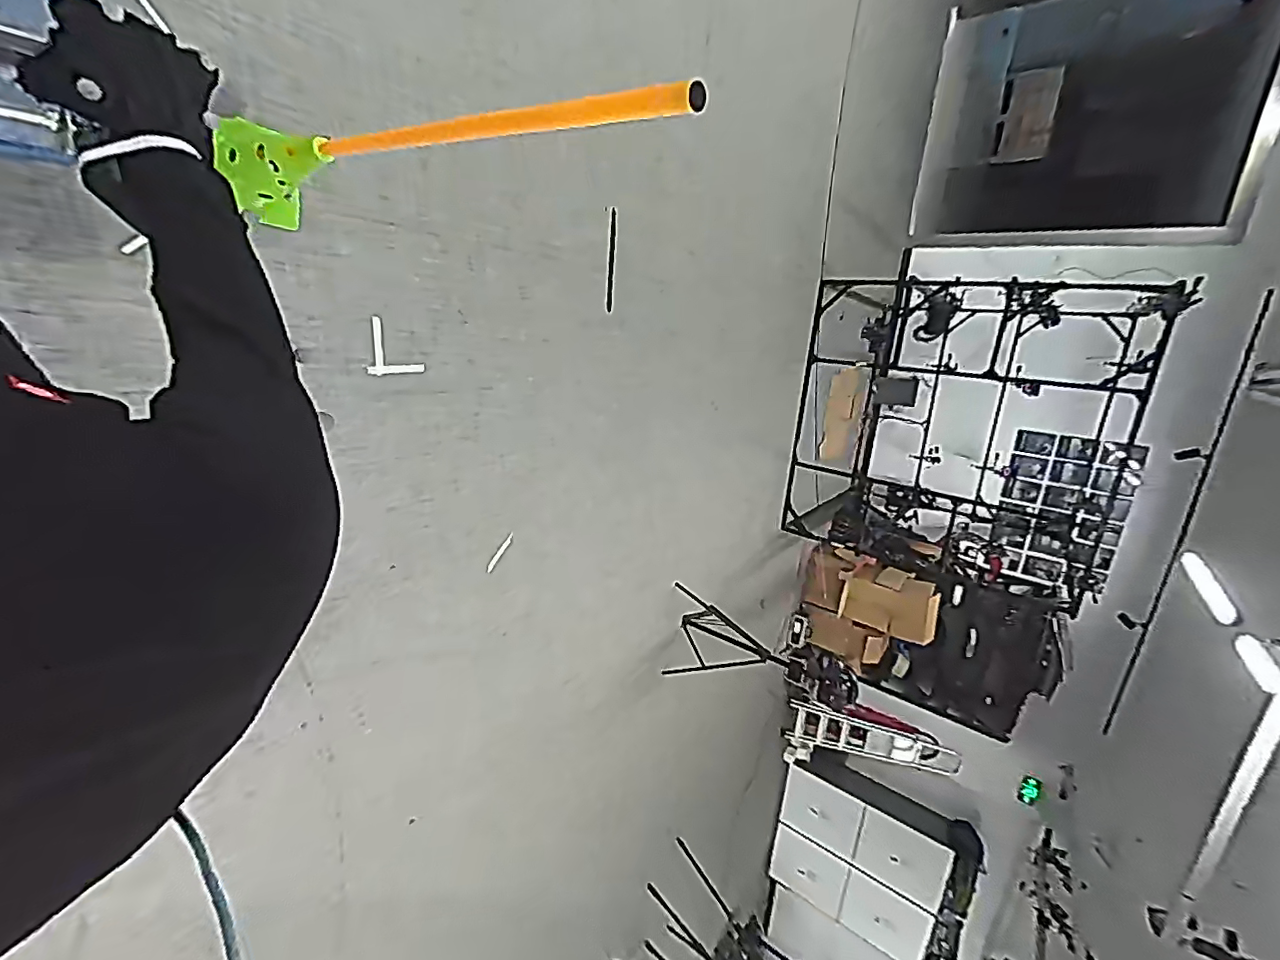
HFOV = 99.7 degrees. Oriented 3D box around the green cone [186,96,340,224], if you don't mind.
[{"bbox_3d":[-0.721,-0.649,1.085,0.202,0.368,0.200,-10,111,-55],"label":"green cone"}]
